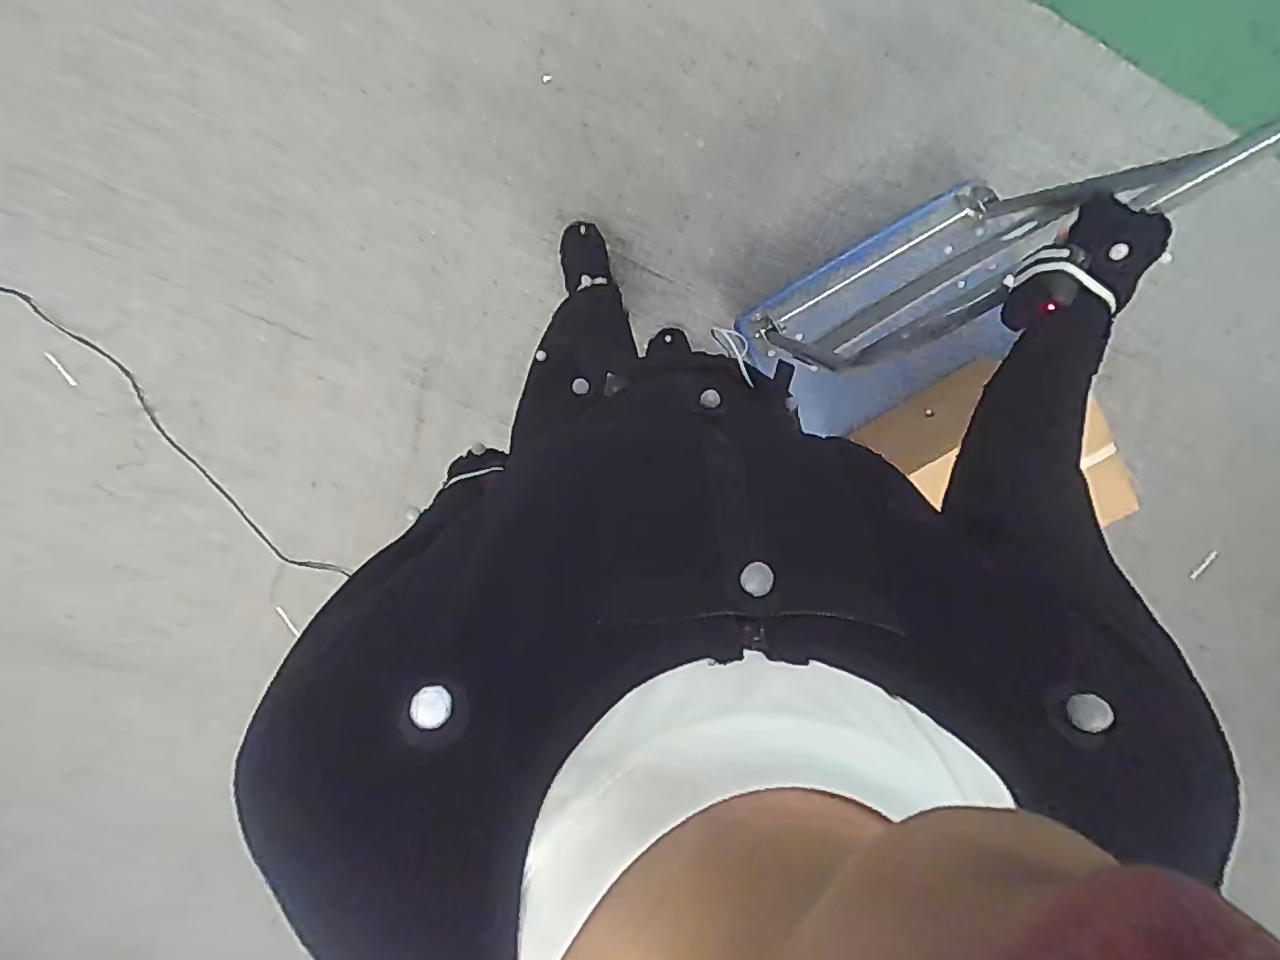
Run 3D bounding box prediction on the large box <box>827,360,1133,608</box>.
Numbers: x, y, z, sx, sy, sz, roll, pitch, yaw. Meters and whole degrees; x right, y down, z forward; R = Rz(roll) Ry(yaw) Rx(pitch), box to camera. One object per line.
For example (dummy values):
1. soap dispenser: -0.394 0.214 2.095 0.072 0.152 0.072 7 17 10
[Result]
1. large box: 0.693 -0.009 1.167 0.408 0.320 0.320 -33 107 10
